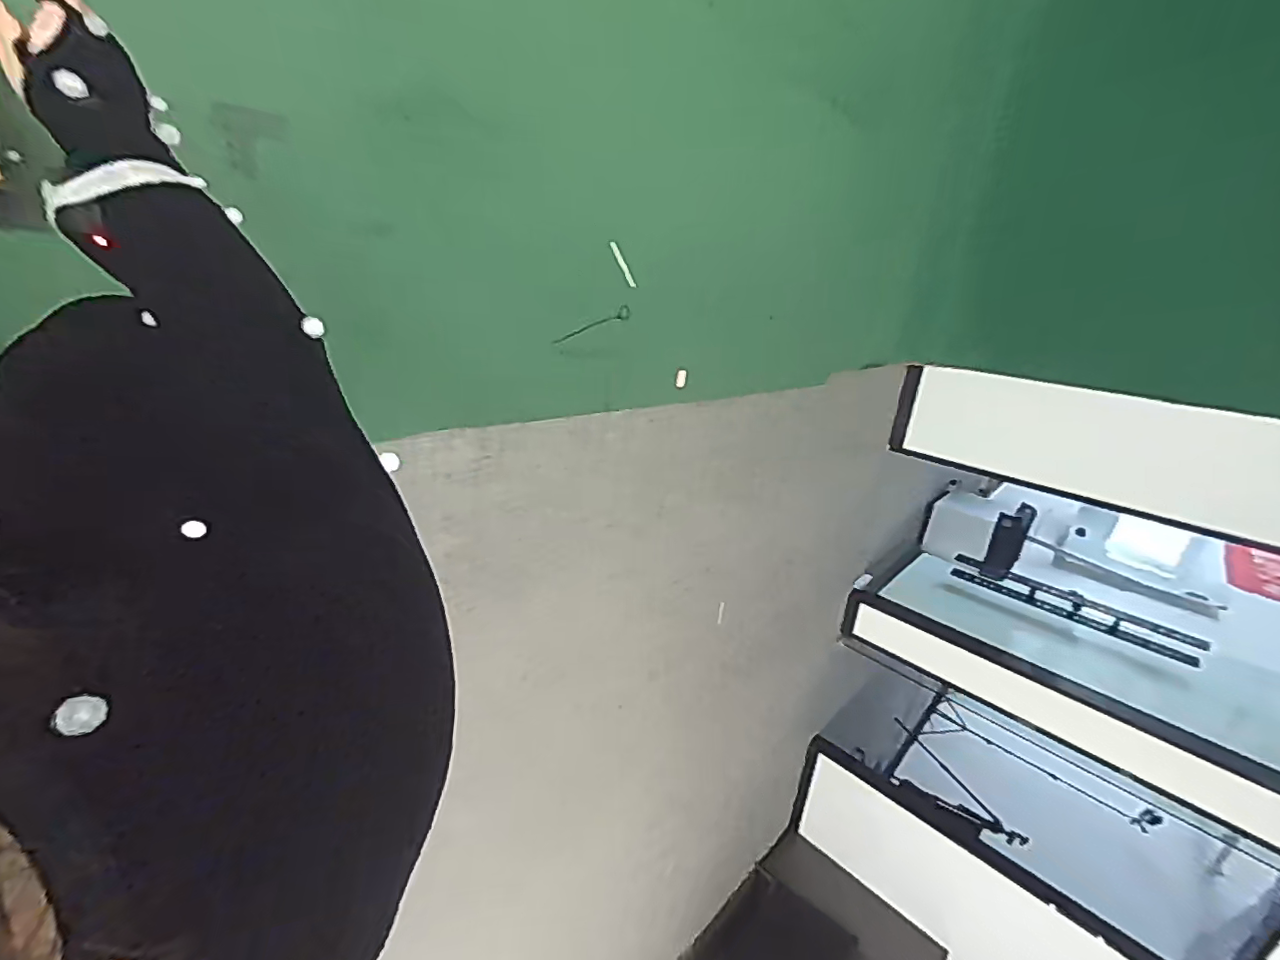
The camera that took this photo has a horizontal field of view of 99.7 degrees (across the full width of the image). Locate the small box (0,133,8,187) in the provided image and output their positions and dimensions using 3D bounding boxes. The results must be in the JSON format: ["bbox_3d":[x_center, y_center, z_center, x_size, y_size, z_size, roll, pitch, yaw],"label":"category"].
[{"bbox_3d":[-0.675,-0.352,0.450,0.179,0.176,0.168,-12,117,-43],"label":"small box"}]
